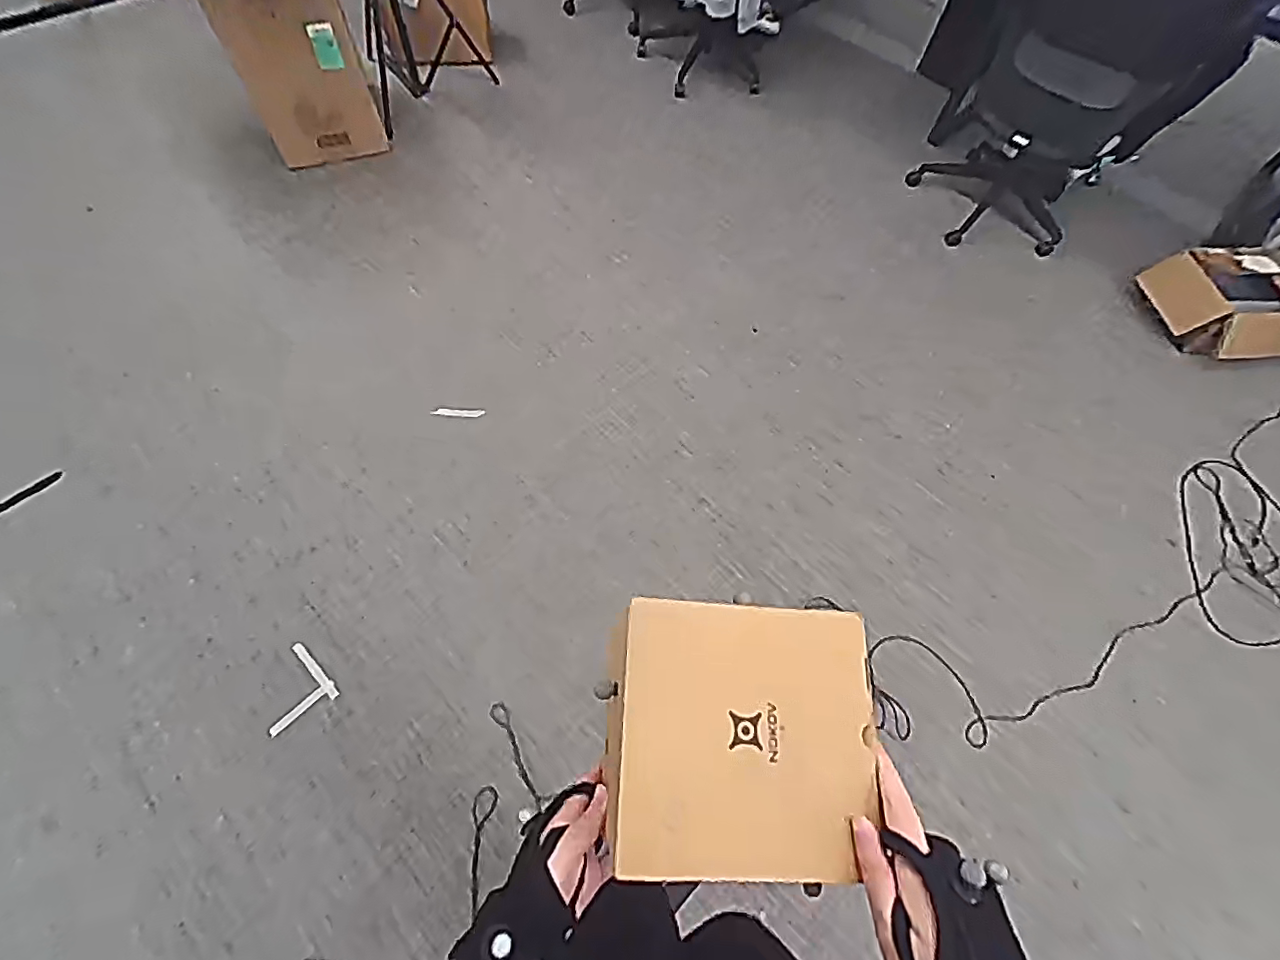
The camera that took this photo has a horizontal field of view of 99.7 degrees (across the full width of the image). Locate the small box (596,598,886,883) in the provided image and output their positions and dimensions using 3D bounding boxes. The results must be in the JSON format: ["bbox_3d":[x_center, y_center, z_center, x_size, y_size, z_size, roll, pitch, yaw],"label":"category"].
[{"bbox_3d":[0.060,0.196,0.429,0.179,0.176,0.168,6,67,-7],"label":"small box"}]
